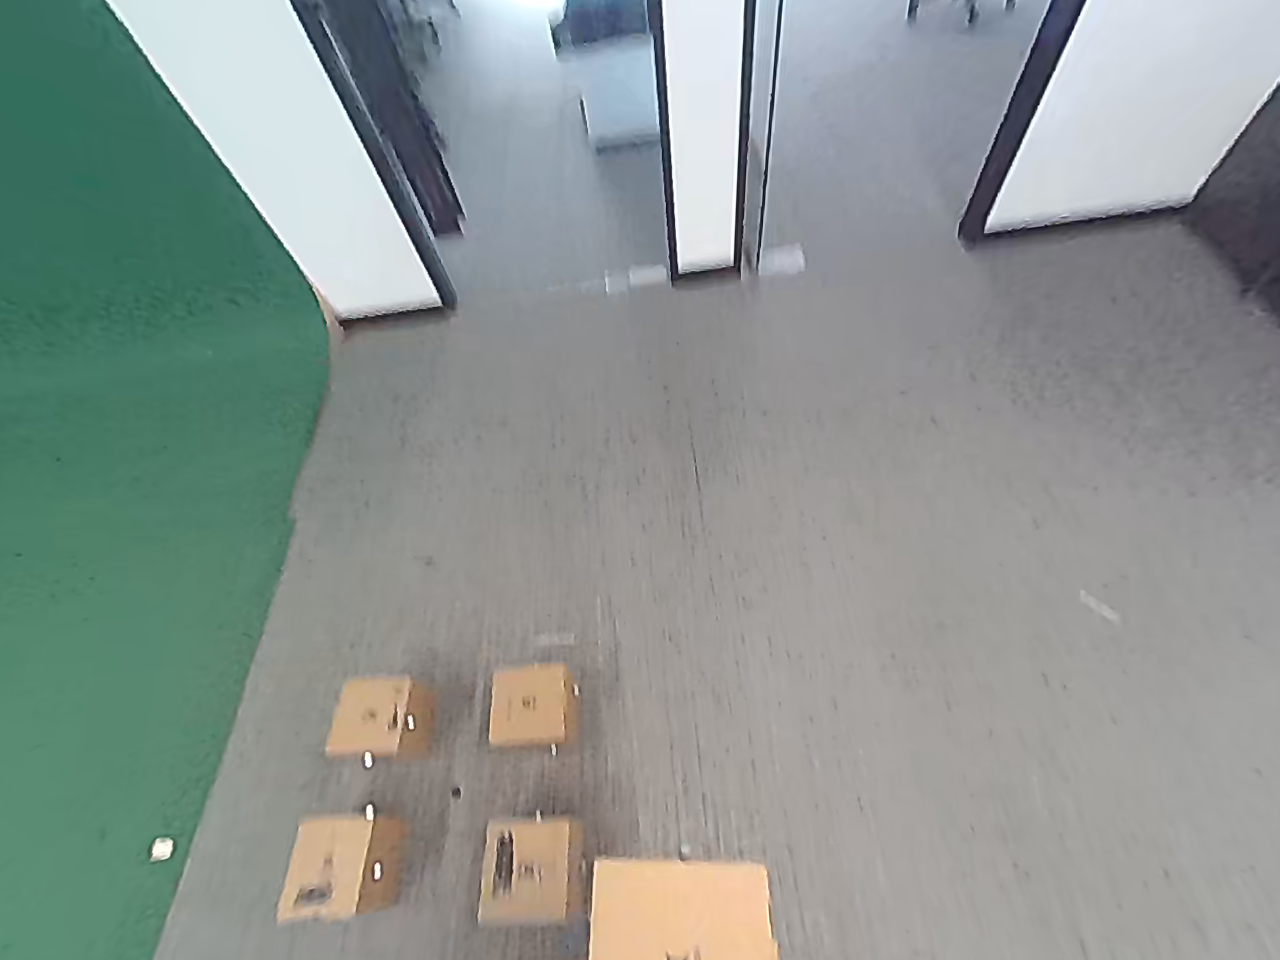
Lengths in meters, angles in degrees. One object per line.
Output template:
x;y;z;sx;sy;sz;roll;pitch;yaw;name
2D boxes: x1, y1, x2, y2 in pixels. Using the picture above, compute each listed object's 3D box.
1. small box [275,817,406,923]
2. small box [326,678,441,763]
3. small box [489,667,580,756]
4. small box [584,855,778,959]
-0.632;0.835;1.168;0.168;0.176;0.179;-5;55;4;small box
-0.620;0.594;1.328;0.179;0.176;0.168;-4;56;6;small box
-0.245;0.561;1.304;0.179;0.176;0.168;-6;55;4;small box
0.034;0.484;0.540;0.179;0.176;0.168;3;52;-2;small box
